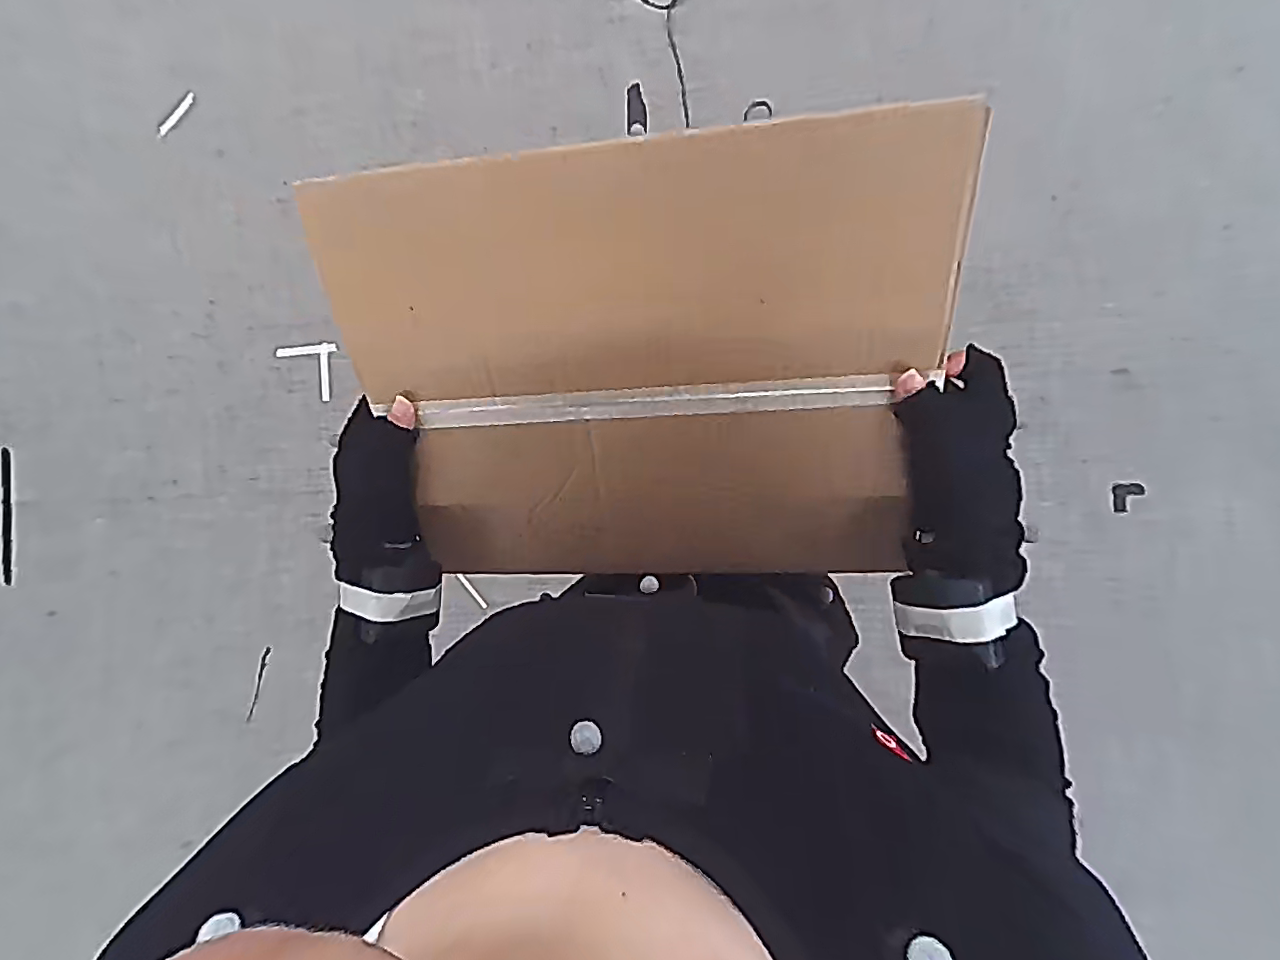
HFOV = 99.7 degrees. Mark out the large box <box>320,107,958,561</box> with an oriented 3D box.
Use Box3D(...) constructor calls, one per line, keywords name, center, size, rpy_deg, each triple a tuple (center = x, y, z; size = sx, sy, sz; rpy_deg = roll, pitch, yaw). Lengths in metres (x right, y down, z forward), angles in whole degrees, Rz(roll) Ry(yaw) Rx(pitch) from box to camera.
Box3D(name="large box", center=(0.017, -0.139, 0.525), size=(0.408, 0.320, 0.320), rpy_deg=(-2, 120, 9))
